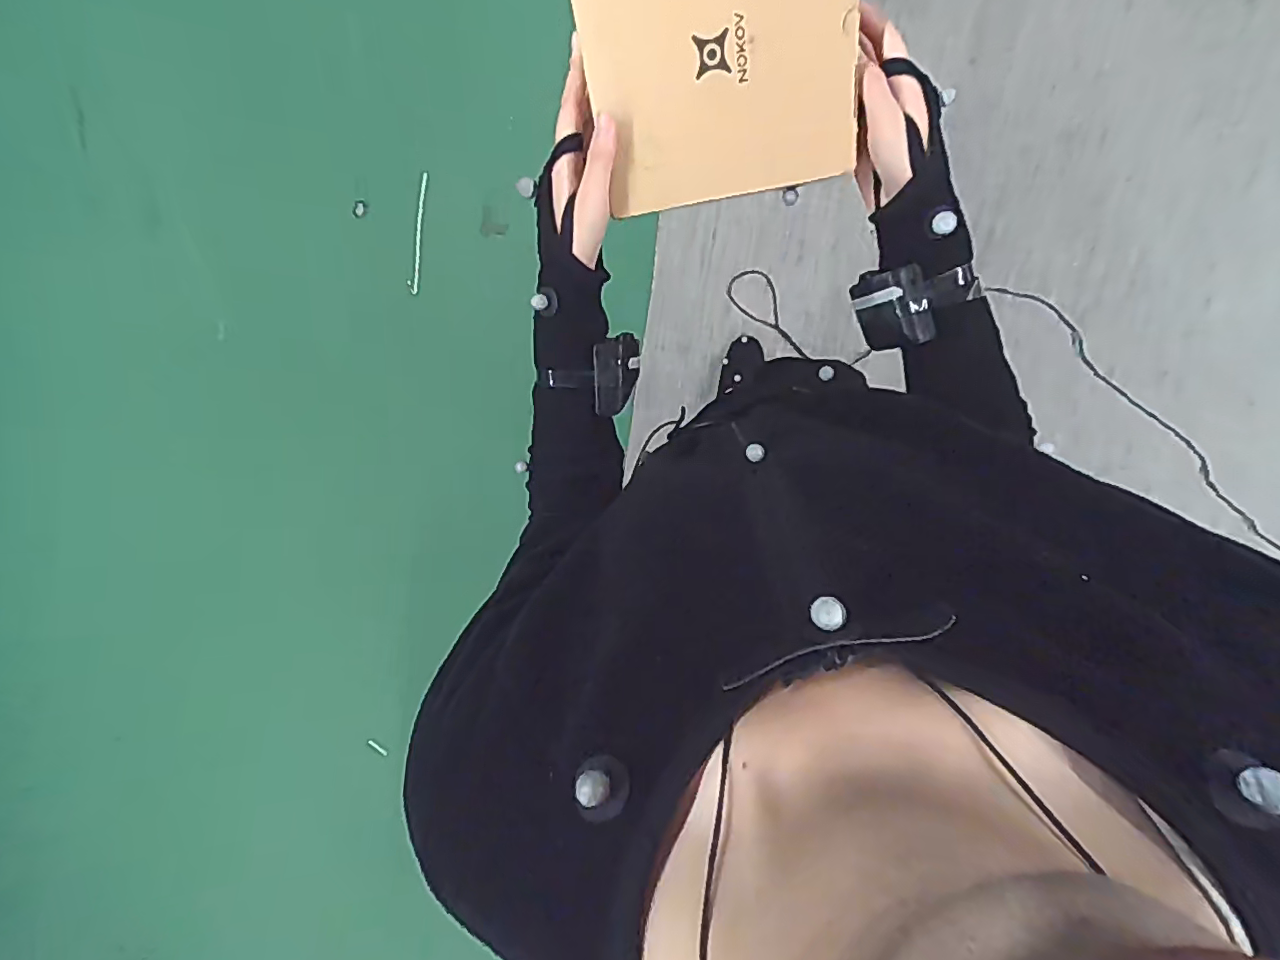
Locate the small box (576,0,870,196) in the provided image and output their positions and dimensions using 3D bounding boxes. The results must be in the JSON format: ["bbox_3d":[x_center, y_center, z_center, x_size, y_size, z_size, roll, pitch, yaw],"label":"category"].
[{"bbox_3d":[0.053,-0.317,0.402,0.179,0.176,0.168,-9,119,5],"label":"small box"}]
